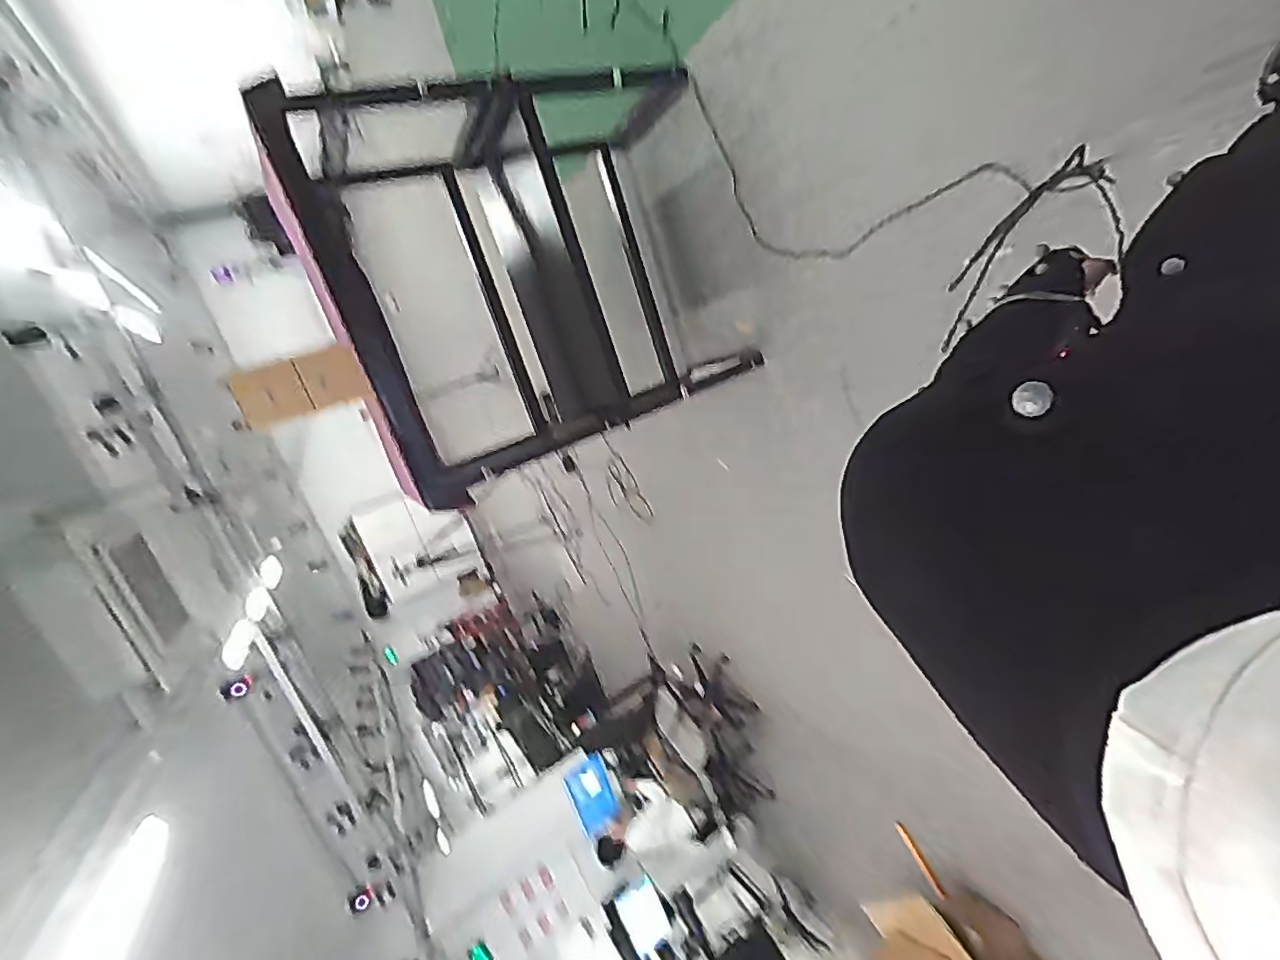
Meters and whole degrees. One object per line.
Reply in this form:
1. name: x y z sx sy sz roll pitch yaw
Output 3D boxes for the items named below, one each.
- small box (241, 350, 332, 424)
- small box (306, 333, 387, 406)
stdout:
1. small box: -1.038 -0.278 1.604 0.168 0.176 0.179 12 125 61
2. small box: -0.902 -0.341 1.672 0.168 0.176 0.179 12 123 60
